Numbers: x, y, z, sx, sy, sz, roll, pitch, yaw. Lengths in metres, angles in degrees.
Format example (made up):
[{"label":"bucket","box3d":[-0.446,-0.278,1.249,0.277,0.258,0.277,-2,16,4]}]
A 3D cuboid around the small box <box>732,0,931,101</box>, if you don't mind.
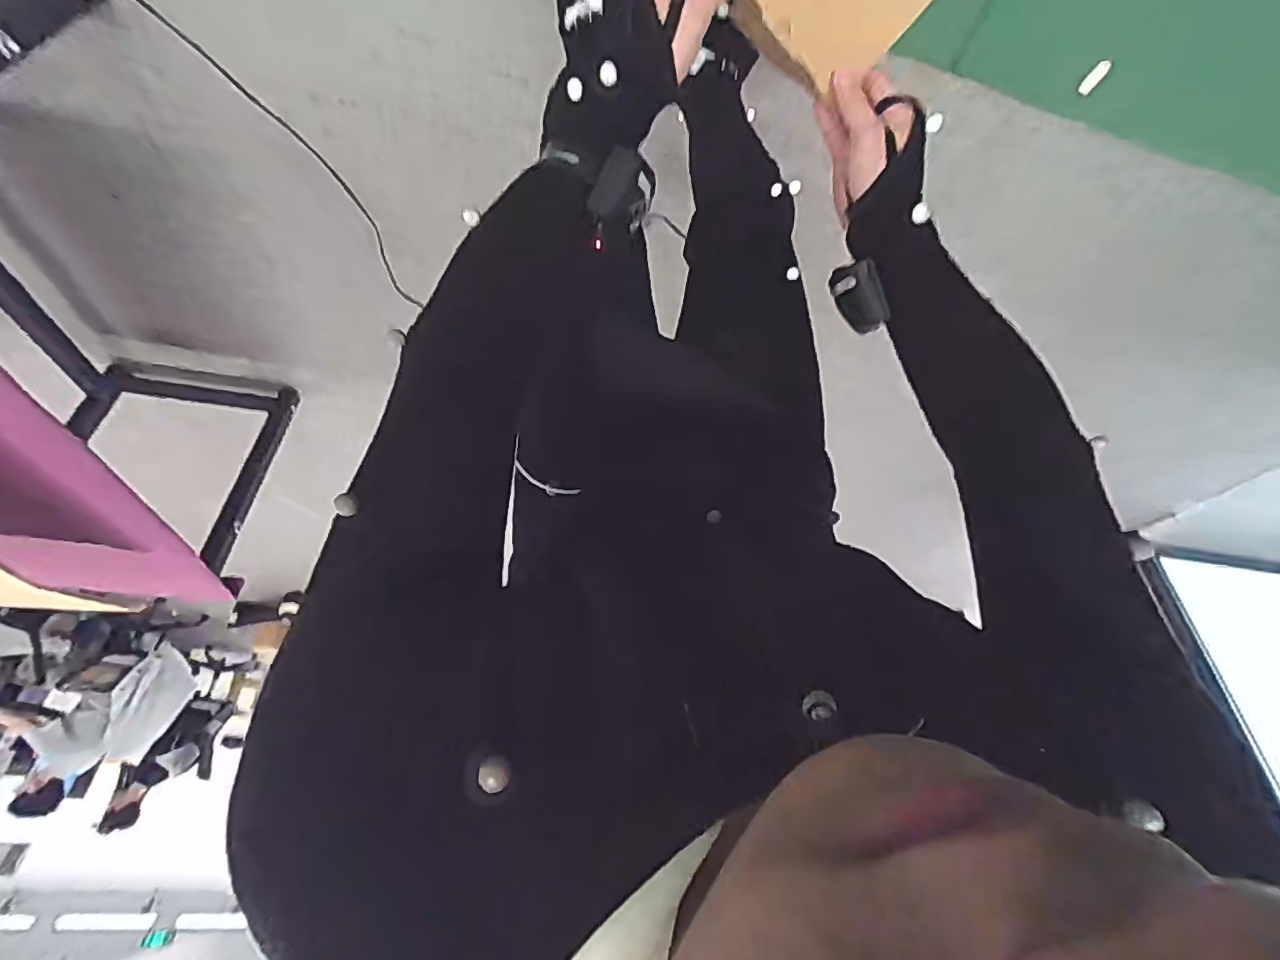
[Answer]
[{"label":"small box","box3d":[0.156,-0.469,0.437,0.168,0.176,0.179,23,129,-35]}]
